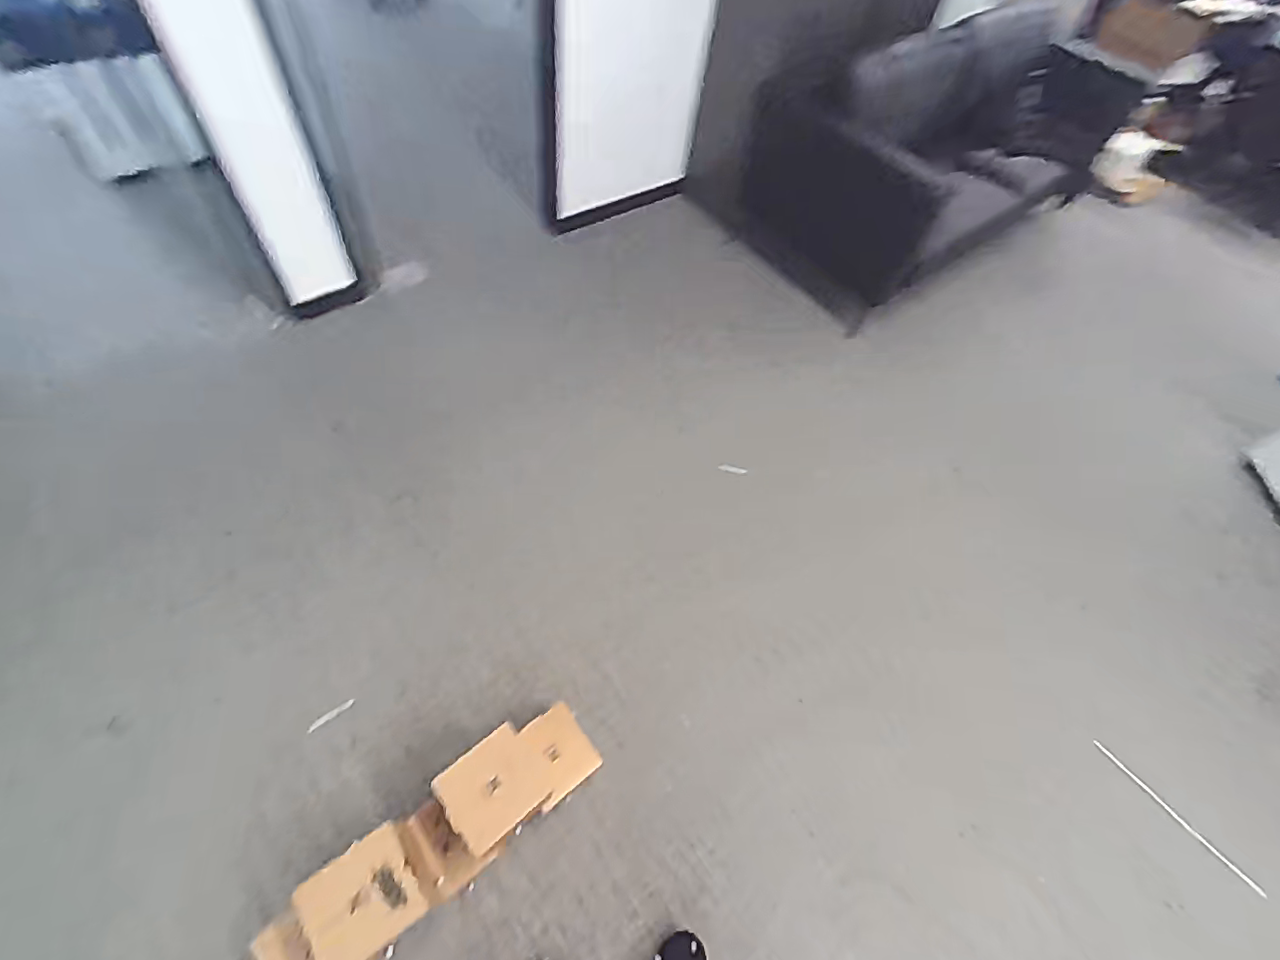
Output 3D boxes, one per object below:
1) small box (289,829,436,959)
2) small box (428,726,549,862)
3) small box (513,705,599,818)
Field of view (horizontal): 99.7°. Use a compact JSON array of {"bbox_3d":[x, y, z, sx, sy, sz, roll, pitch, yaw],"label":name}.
[{"bbox_3d":[-0.493,0.775,0.989,0.179,0.176,0.168,-30,65,-25],"label":"small box"},{"bbox_3d":[-0.303,0.646,1.110,0.179,0.176,0.168,-32,67,-29],"label":"small box"},{"bbox_3d":[-0.217,0.678,1.301,0.168,0.176,0.179,-32,66,-26],"label":"small box"}]
